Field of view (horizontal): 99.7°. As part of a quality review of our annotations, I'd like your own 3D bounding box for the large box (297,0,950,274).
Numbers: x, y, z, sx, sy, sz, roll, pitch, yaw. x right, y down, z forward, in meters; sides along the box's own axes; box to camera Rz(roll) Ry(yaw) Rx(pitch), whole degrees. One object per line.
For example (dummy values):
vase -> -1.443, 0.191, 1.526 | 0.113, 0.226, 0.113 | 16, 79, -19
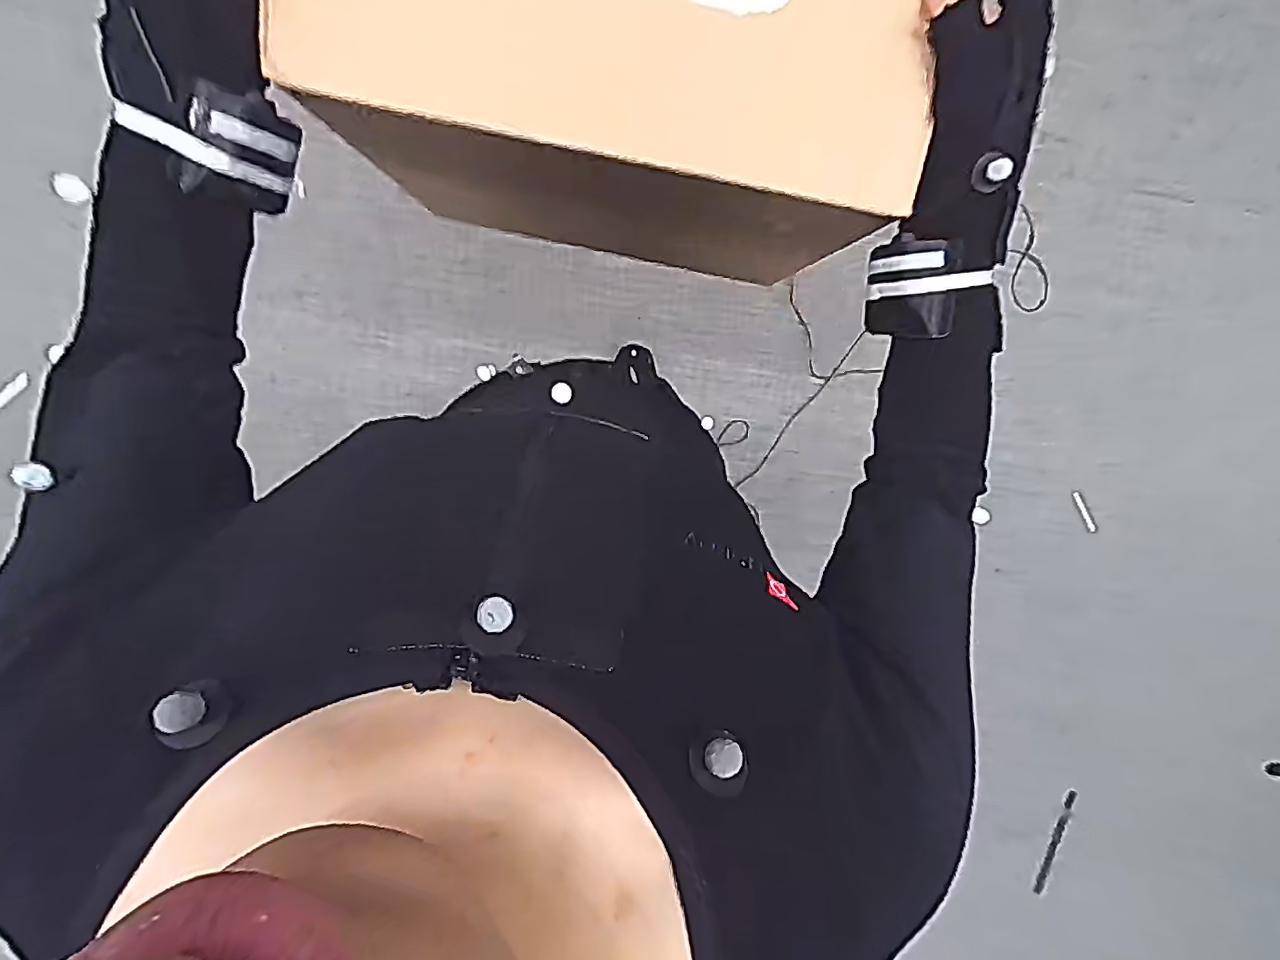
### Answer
large box -> -0.002, -0.394, 0.466 | 0.408, 0.320, 0.320 | 9, 102, -5
